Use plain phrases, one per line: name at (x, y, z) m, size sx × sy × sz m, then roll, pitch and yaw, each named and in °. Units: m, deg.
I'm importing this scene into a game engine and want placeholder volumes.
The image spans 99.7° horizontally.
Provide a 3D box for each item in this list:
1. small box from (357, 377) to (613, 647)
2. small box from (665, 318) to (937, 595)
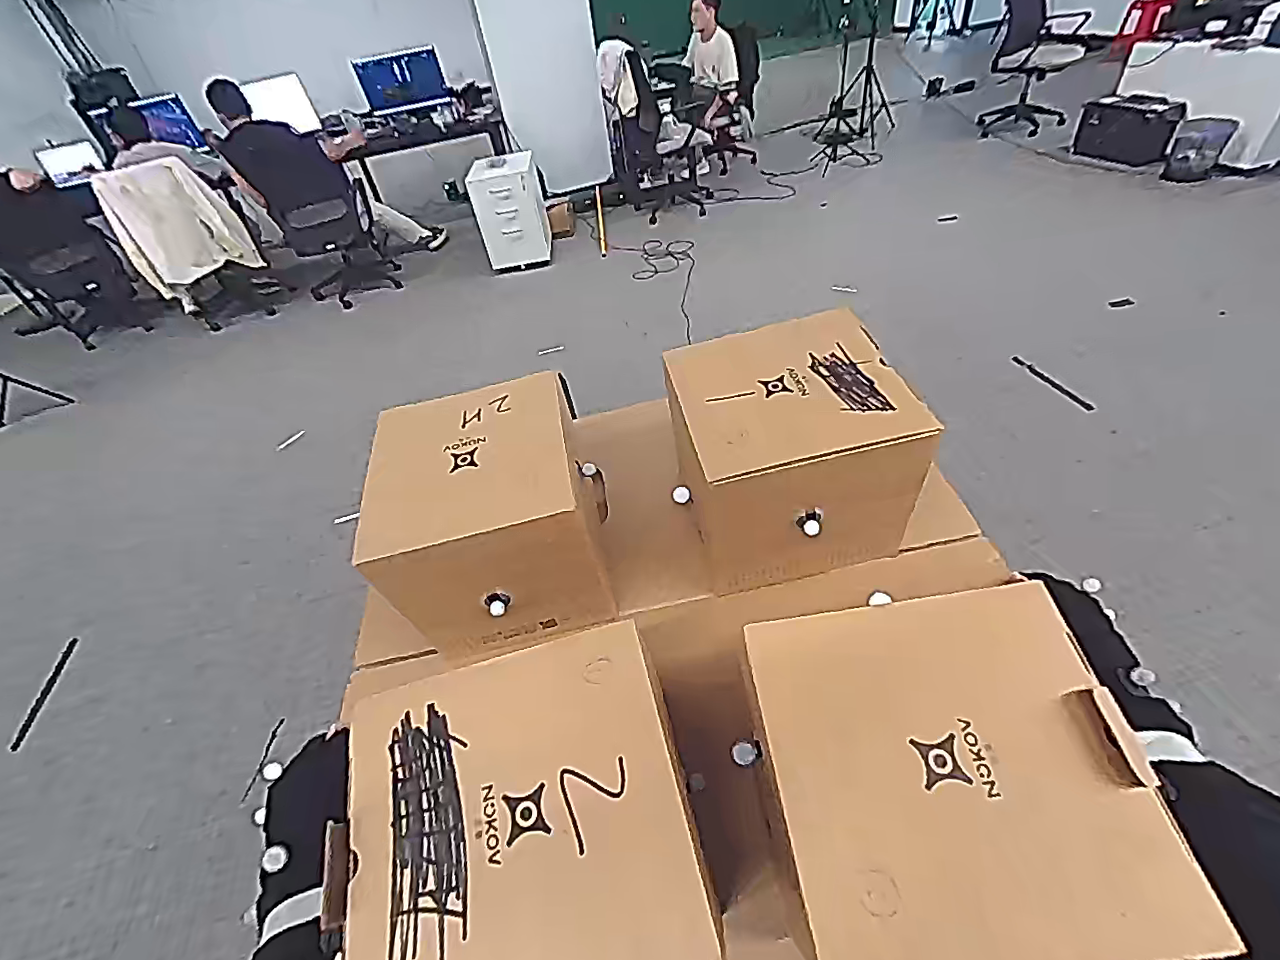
small box at (-0.127, 0.038, 0.503) m, size 0.168 × 0.176 × 0.179 m, roll -13°, pitch 47°, yaw 0°
small box at (0.129, -0.017, 0.498) m, size 0.179 × 0.176 × 0.168 m, roll -13°, pitch 48°, yaw 1°
